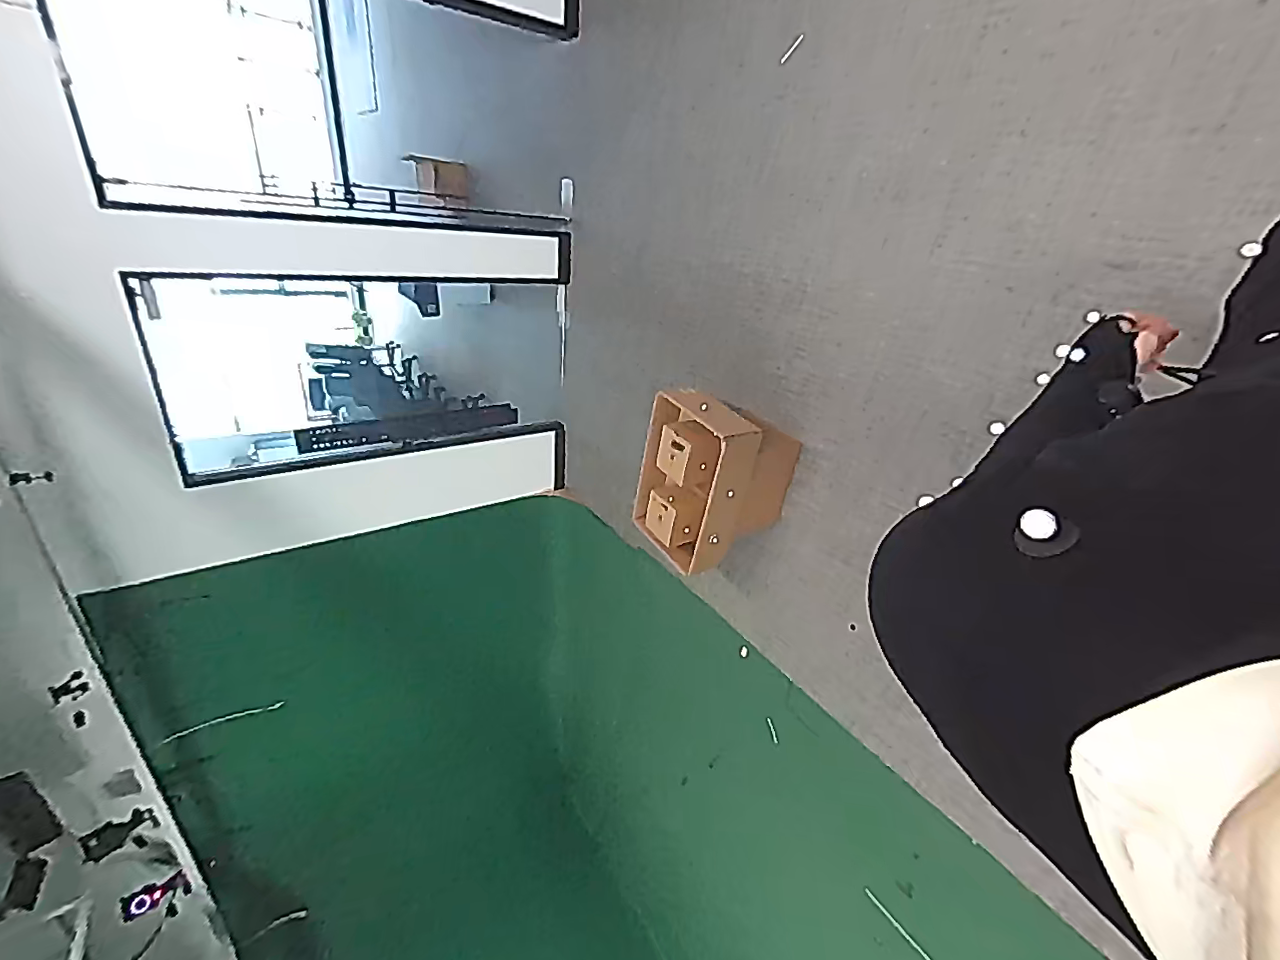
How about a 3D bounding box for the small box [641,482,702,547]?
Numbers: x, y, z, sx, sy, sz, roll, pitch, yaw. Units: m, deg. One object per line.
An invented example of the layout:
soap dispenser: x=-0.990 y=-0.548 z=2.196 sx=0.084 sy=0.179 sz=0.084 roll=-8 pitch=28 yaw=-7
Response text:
small box: x=0.124 y=0.131 z=2.122 sx=0.168 sy=0.176 sz=0.179 roll=40 pitch=133 yaw=43
